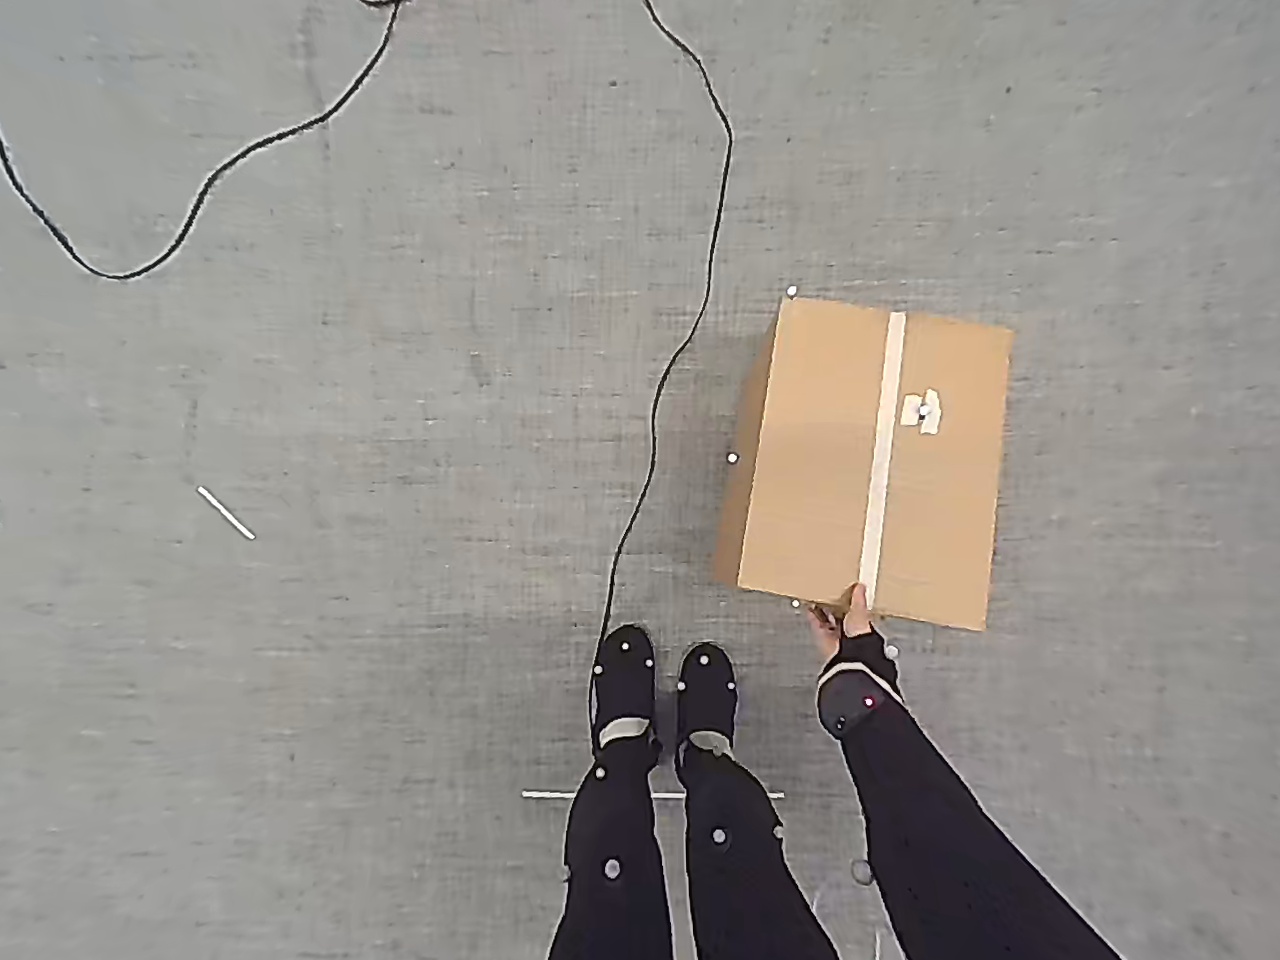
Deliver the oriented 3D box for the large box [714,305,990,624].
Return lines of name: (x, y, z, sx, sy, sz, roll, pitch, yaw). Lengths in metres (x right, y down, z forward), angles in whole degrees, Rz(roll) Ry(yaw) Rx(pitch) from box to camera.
large box: (0.306, -0.008, 0.868, 0.320, 0.320, 0.408, 9, 82, 3)
